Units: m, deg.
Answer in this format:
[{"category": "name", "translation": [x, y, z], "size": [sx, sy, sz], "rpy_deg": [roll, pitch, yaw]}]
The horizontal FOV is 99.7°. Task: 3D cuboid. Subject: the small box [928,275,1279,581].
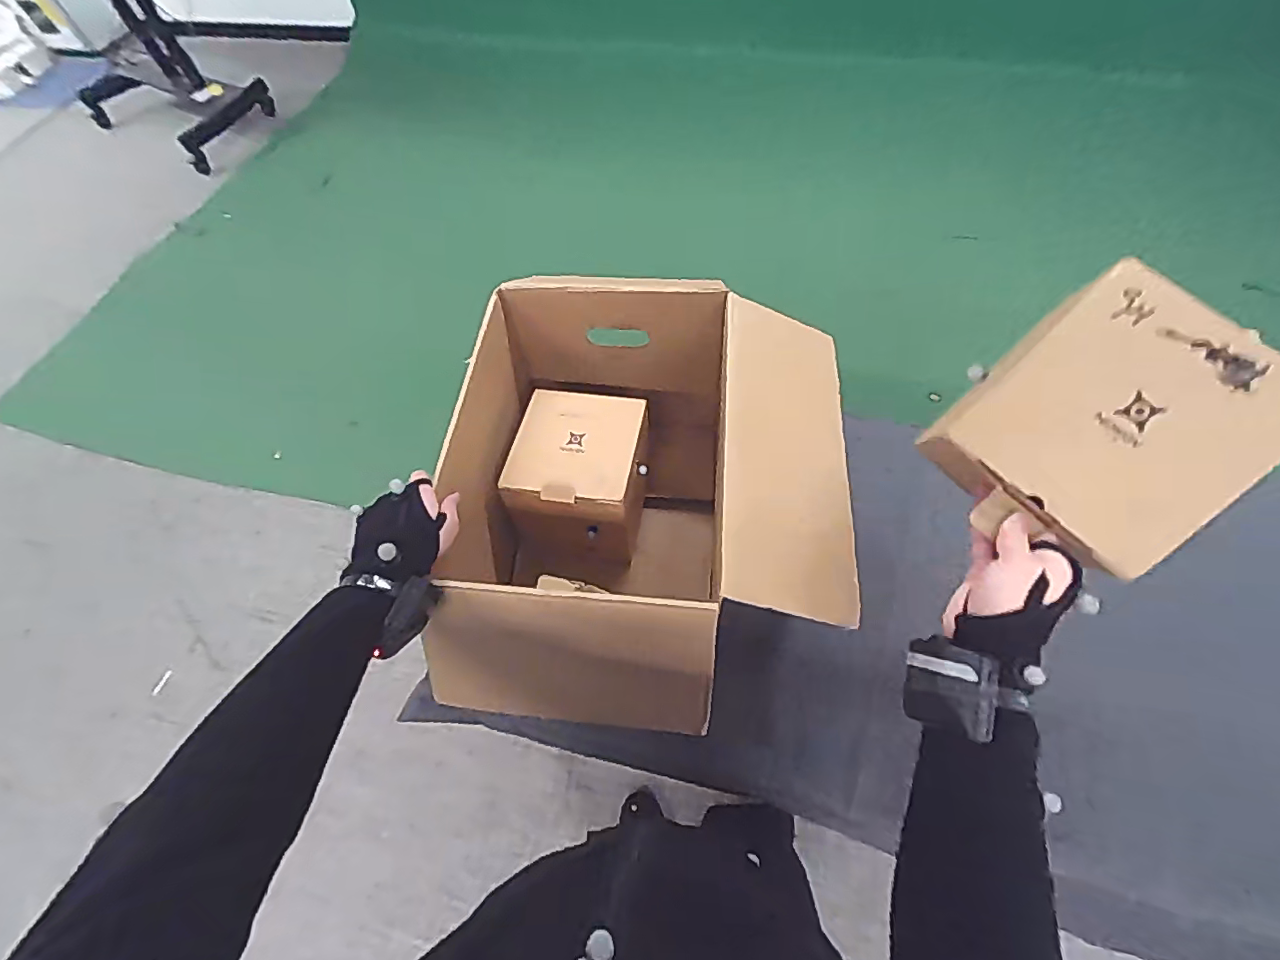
[{"category": "small box", "translation": [0.386, -0.037, 0.480], "size": [0.168, 0.176, 0.179], "rpy_deg": [45, 103, 16]}]
